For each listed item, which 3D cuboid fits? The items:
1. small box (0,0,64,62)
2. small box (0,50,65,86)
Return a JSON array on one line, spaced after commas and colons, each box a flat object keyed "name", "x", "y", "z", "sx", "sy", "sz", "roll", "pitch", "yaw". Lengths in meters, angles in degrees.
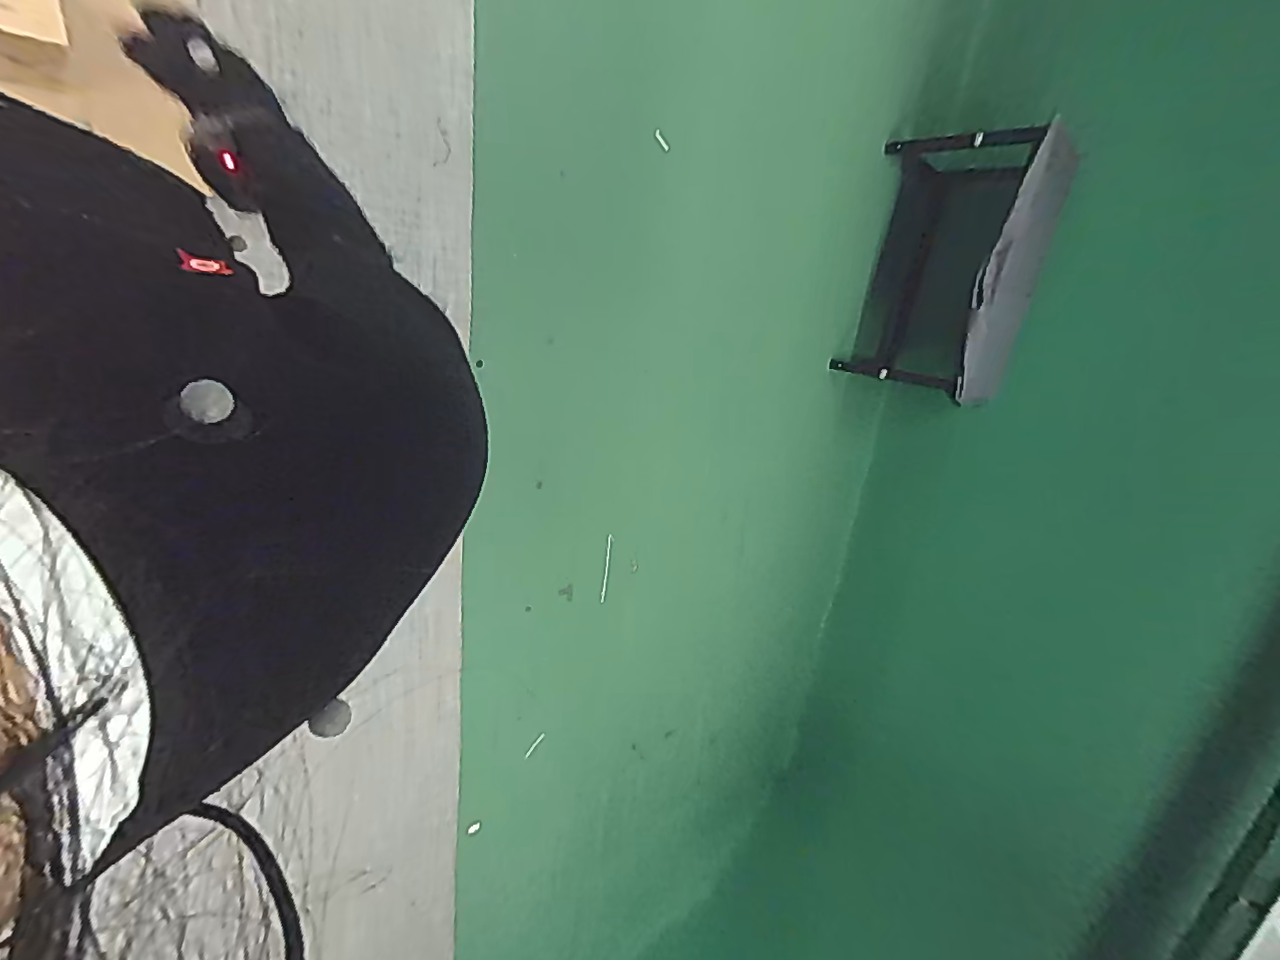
[{"name": "small box", "x": -0.865, "y": -0.664, "z": 0.682, "sx": 0.168, "sy": 0.176, "sz": 0.179, "roll": -16, "pitch": 119, "yaw": -42}, {"name": "small box", "x": -0.982, "y": -0.711, "z": 0.788, "sx": 0.168, "sy": 0.176, "sz": 0.179, "roll": -15, "pitch": 119, "yaw": -43}]
